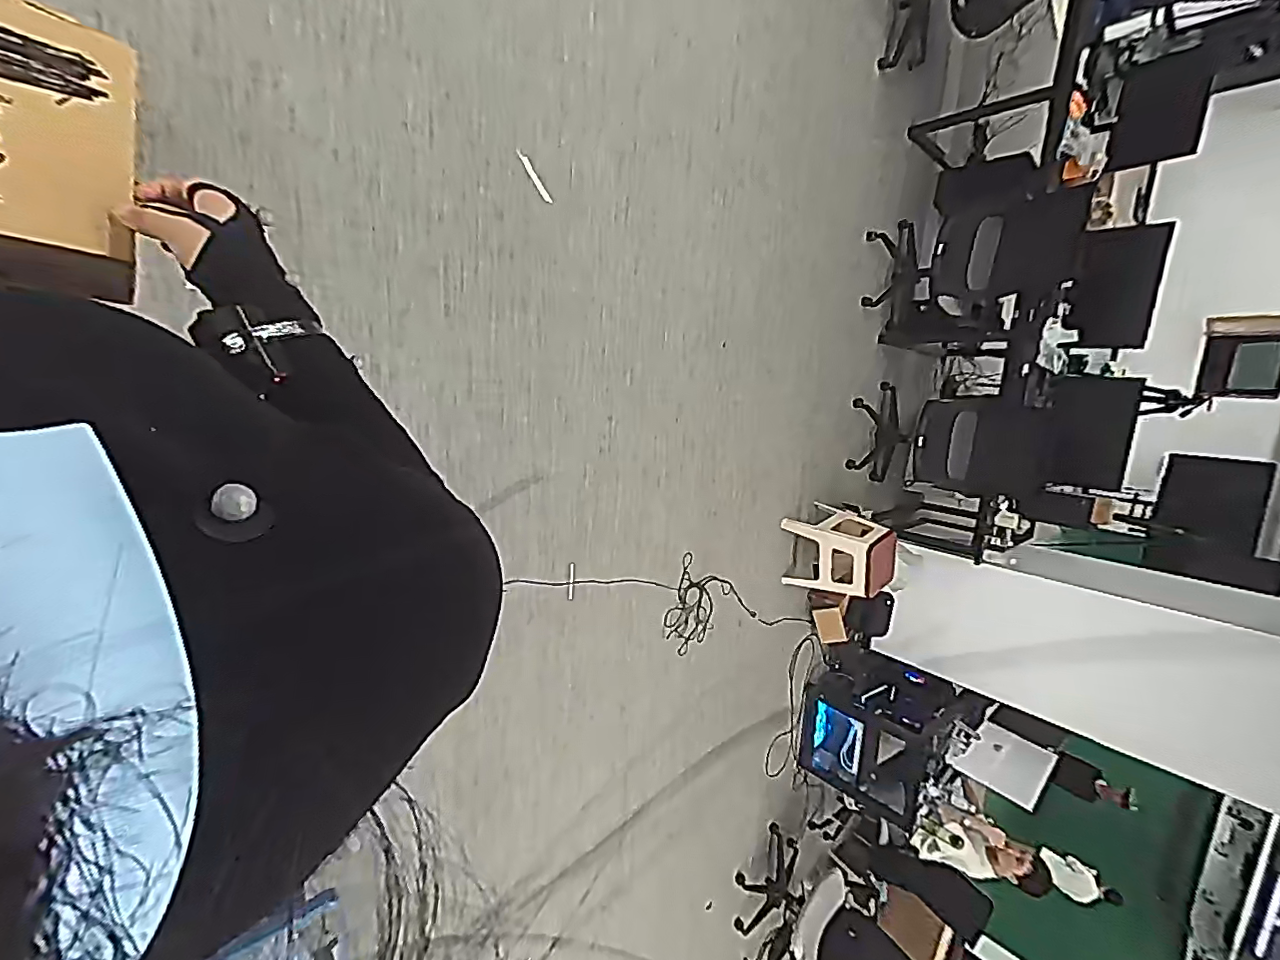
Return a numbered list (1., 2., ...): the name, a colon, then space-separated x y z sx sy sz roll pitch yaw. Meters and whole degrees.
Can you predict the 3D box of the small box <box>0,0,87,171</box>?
1. small box: -0.919 -0.579 0.776 0.168 0.176 0.179 -4 103 -43
